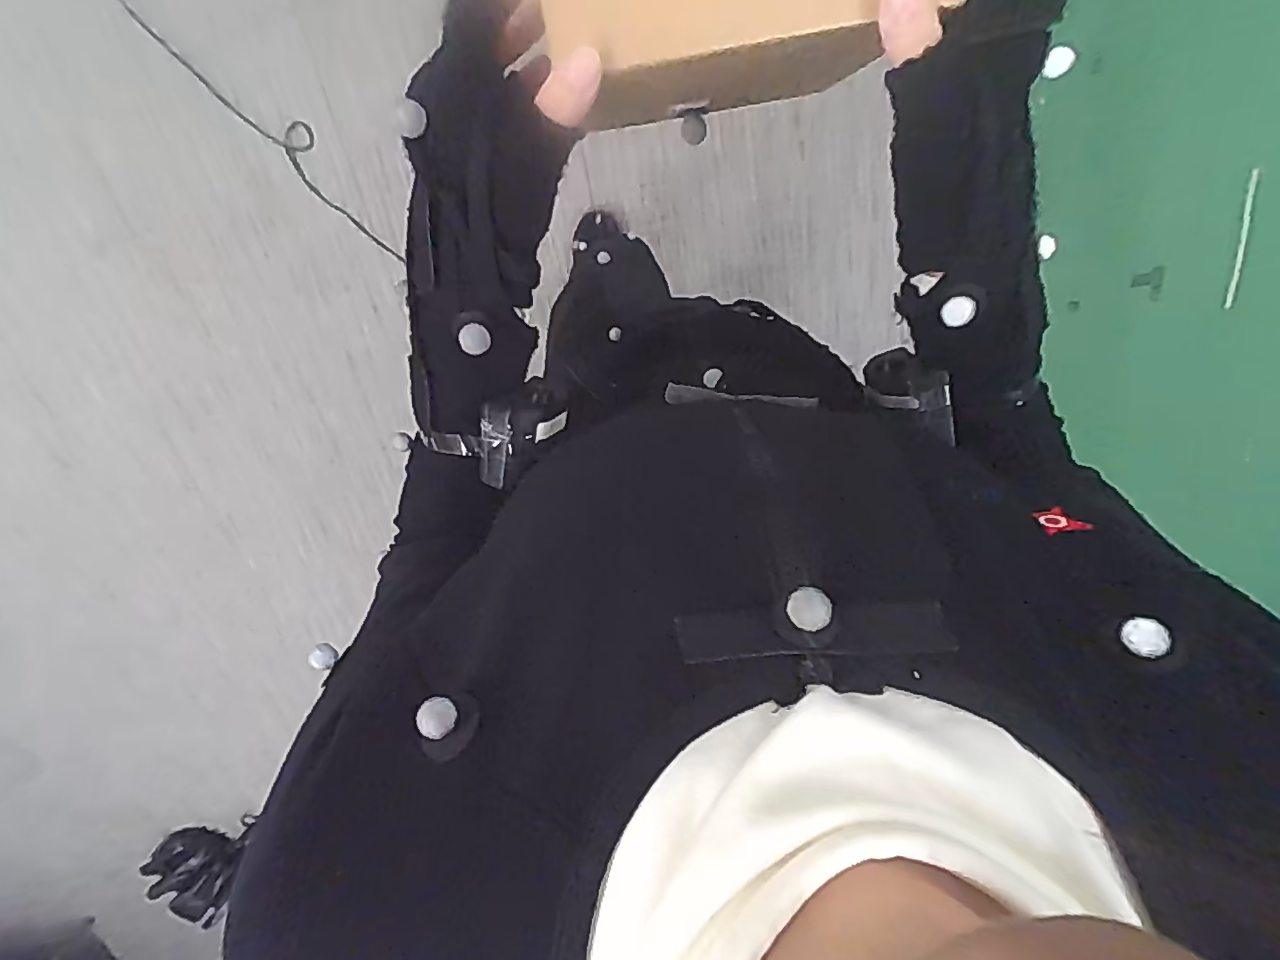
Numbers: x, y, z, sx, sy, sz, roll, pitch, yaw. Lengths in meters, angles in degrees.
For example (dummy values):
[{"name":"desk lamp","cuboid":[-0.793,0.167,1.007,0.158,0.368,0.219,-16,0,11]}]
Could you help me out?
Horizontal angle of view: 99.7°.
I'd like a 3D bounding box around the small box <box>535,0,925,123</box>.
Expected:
[{"name":"small box","cuboid":[0.026,-0.294,0.253,0.168,0.176,0.179,-9,116,2]}]
